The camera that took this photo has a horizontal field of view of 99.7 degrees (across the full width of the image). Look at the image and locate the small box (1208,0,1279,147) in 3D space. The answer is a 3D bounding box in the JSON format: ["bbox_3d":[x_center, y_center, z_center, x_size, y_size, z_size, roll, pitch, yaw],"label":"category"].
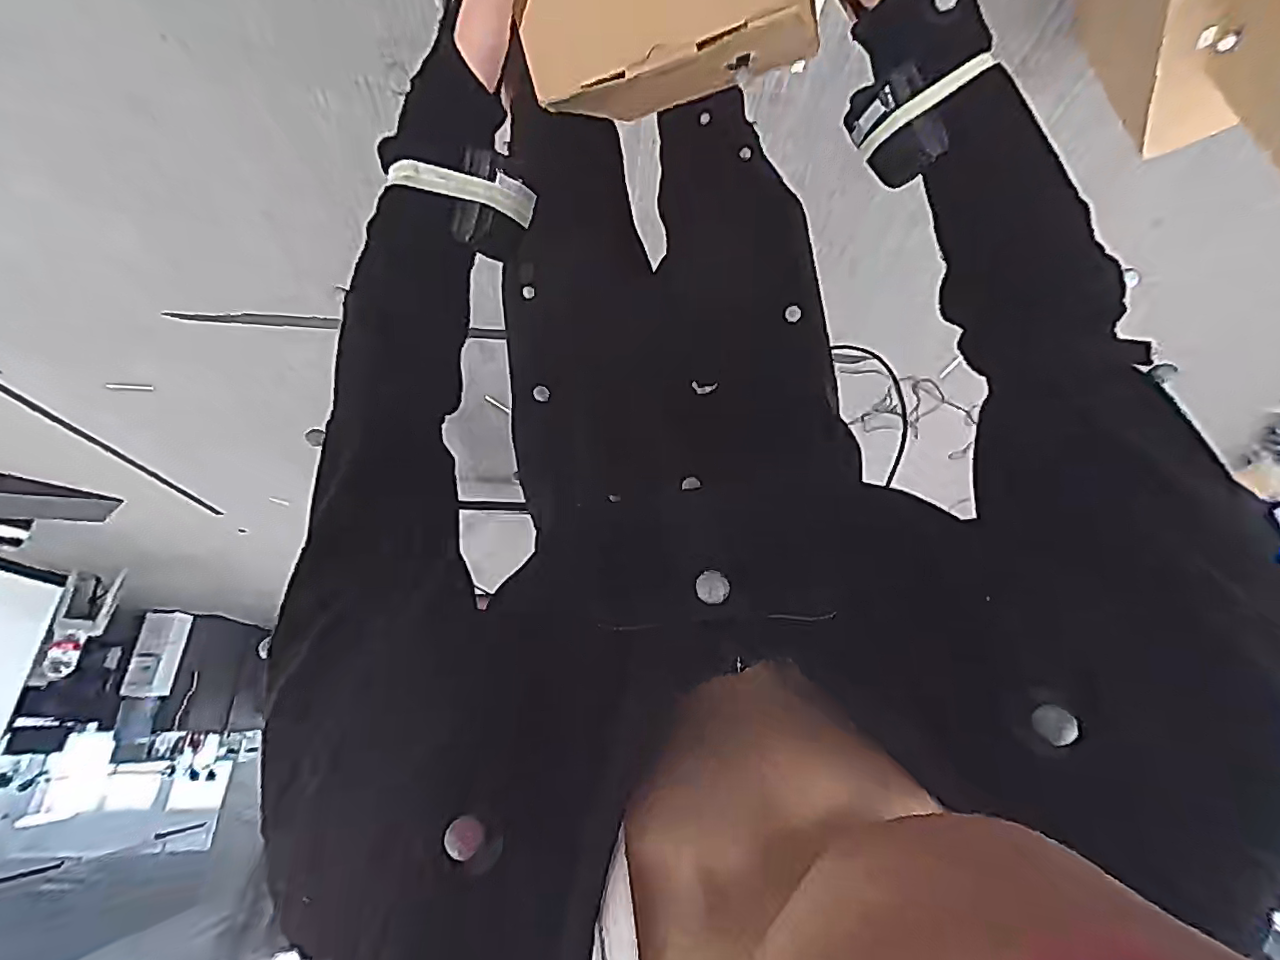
[{"bbox_3d":[0.806,-0.537,0.605,0.179,0.176,0.168,-16,152,31],"label":"small box"}]

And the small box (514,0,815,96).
[{"bbox_3d":[0.014,-0.367,0.339,0.168,0.176,0.179,-5,117,22],"label":"small box"}]
